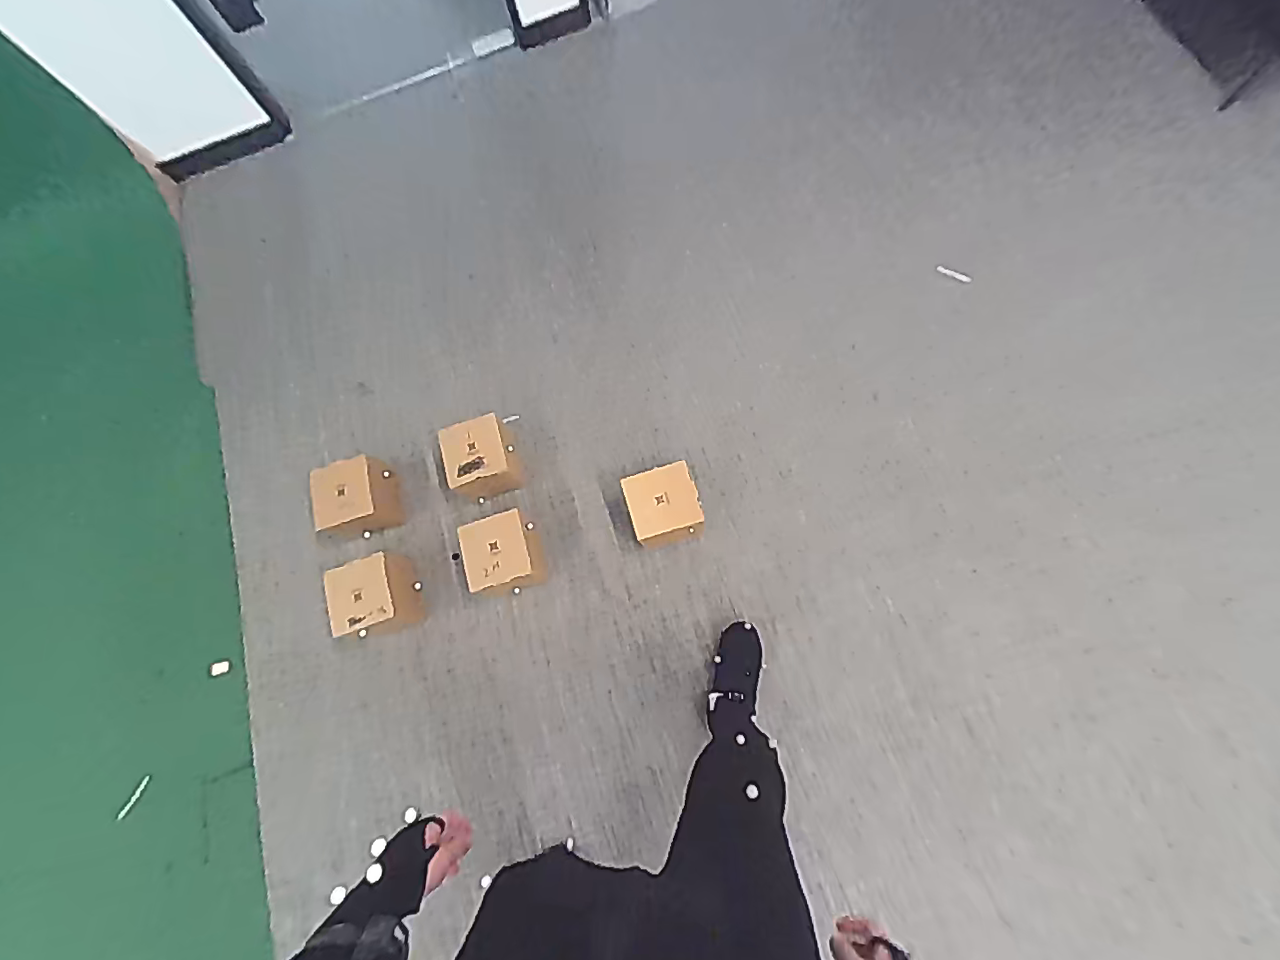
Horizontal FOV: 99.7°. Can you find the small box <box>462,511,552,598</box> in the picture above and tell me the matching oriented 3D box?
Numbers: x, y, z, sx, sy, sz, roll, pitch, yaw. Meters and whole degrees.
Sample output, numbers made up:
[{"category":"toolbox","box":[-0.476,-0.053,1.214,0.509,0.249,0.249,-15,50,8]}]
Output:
[{"category":"small box","box":[-0.349,0.203,1.436,0.168,0.176,0.179,-19,73,2]}]

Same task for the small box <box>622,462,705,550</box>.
[{"category":"small box","box":[0.066,0.075,1.422,0.179,0.176,0.168,-18,73,1]}]

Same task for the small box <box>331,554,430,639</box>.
[{"category":"small box","box":[-0.688,0.318,1.447,0.168,0.176,0.179,-20,71,2]}]

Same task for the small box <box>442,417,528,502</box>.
[{"category":"small box","box":[-0.430,-0.049,1.519,0.168,0.176,0.179,-18,72,2]}]
